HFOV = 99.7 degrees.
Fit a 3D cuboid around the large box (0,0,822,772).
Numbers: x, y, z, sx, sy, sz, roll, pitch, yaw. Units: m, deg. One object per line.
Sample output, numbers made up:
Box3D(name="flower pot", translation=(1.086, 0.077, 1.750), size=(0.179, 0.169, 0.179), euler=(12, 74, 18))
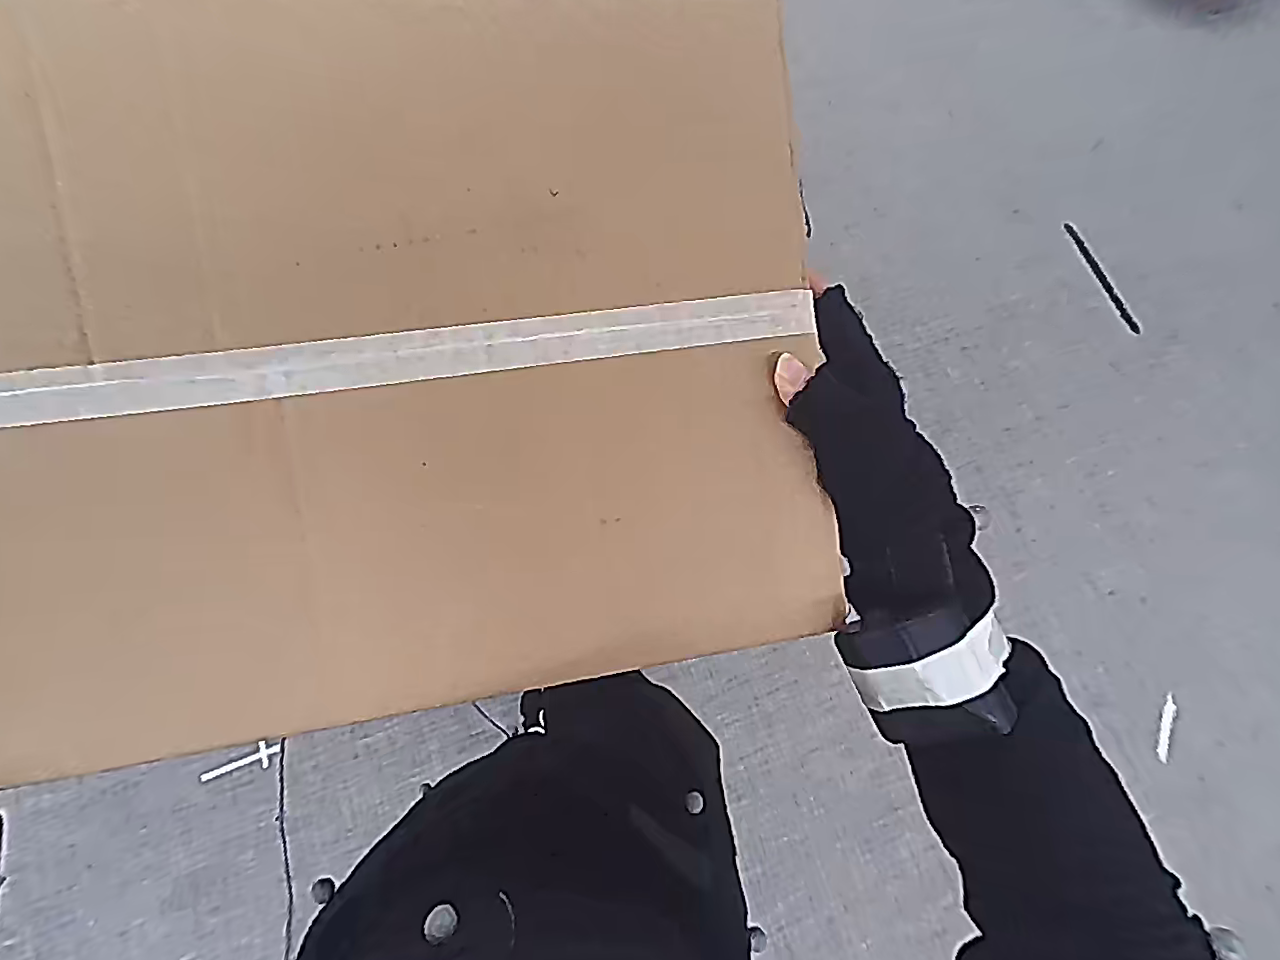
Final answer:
Box3D(name="large box", translation=(-0.137, -0.061, 0.392), size=(0.408, 0.320, 0.320), euler=(-8, 94, -8))
